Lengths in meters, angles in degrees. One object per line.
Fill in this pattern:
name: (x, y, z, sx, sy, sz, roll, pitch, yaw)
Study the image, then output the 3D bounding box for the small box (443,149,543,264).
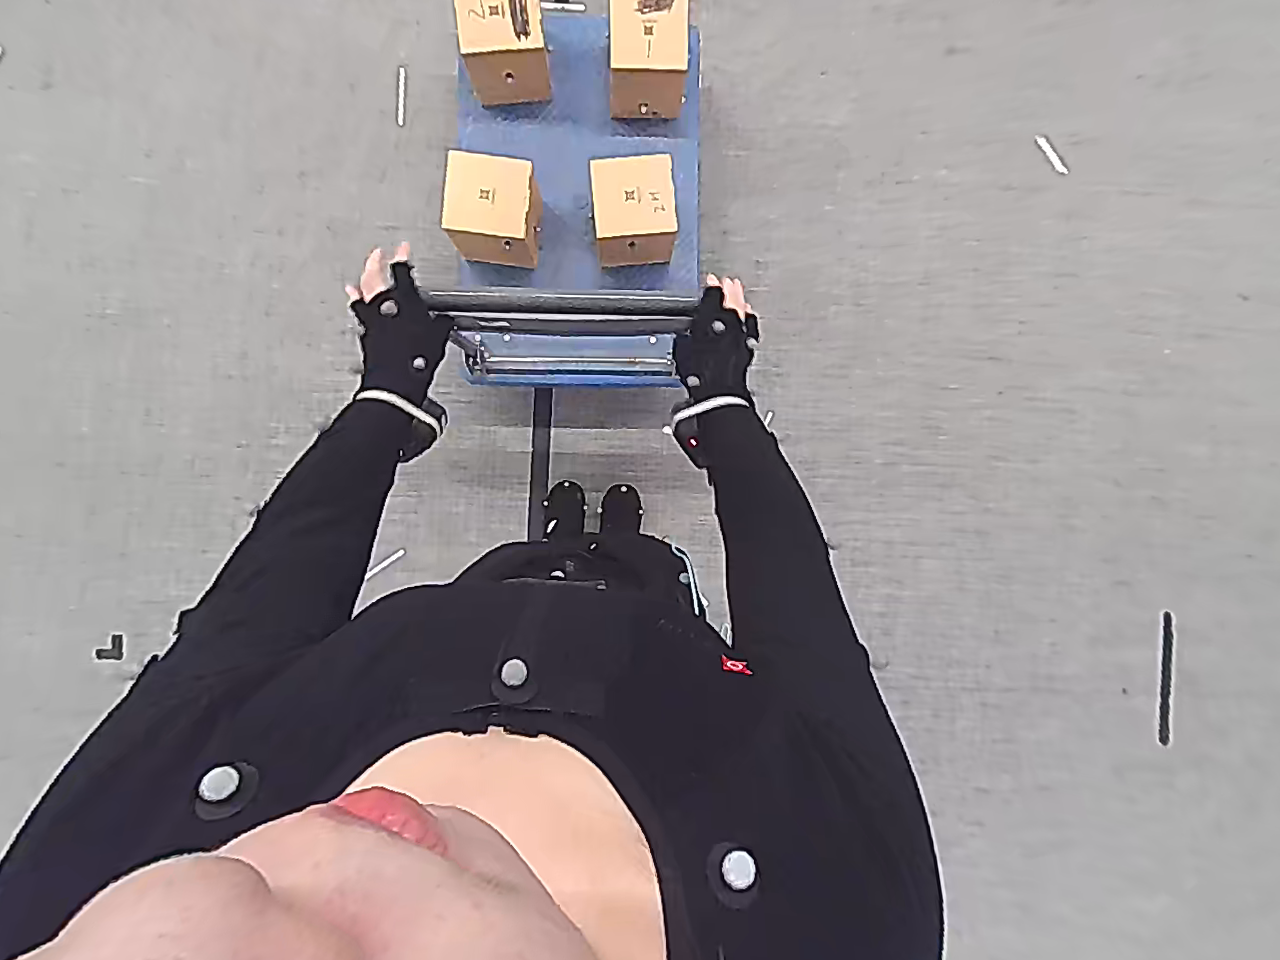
small box: (-0.323, -0.602, 1.212, 0.179, 0.176, 0.168, 6, 91, -4)

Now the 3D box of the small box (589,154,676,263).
small box: (-0.016, -0.605, 1.224, 0.179, 0.176, 0.168, -5, 92, -2)

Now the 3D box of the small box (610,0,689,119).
small box: (0.016, -0.957, 1.216, 0.168, 0.176, 0.179, 0, 93, -2)
